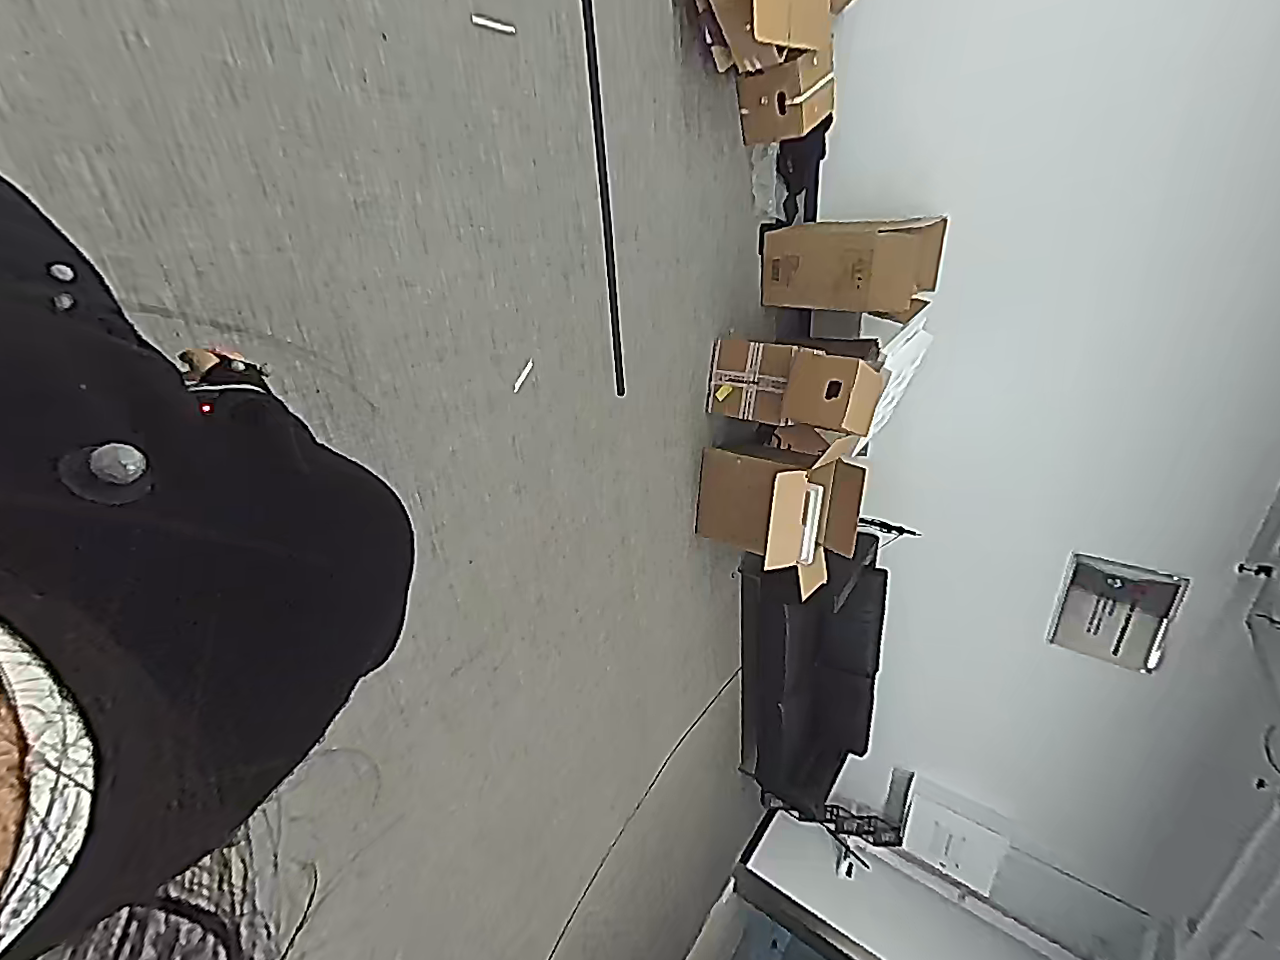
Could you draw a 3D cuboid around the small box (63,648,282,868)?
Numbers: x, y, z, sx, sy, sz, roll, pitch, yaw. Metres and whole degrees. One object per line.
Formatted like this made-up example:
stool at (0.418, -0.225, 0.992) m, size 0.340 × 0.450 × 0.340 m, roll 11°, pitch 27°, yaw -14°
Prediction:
small box at (-0.623, 0.351, 0.726) m, size 0.168 × 0.176 × 0.179 m, roll -25°, pitch 122°, yaw -47°
